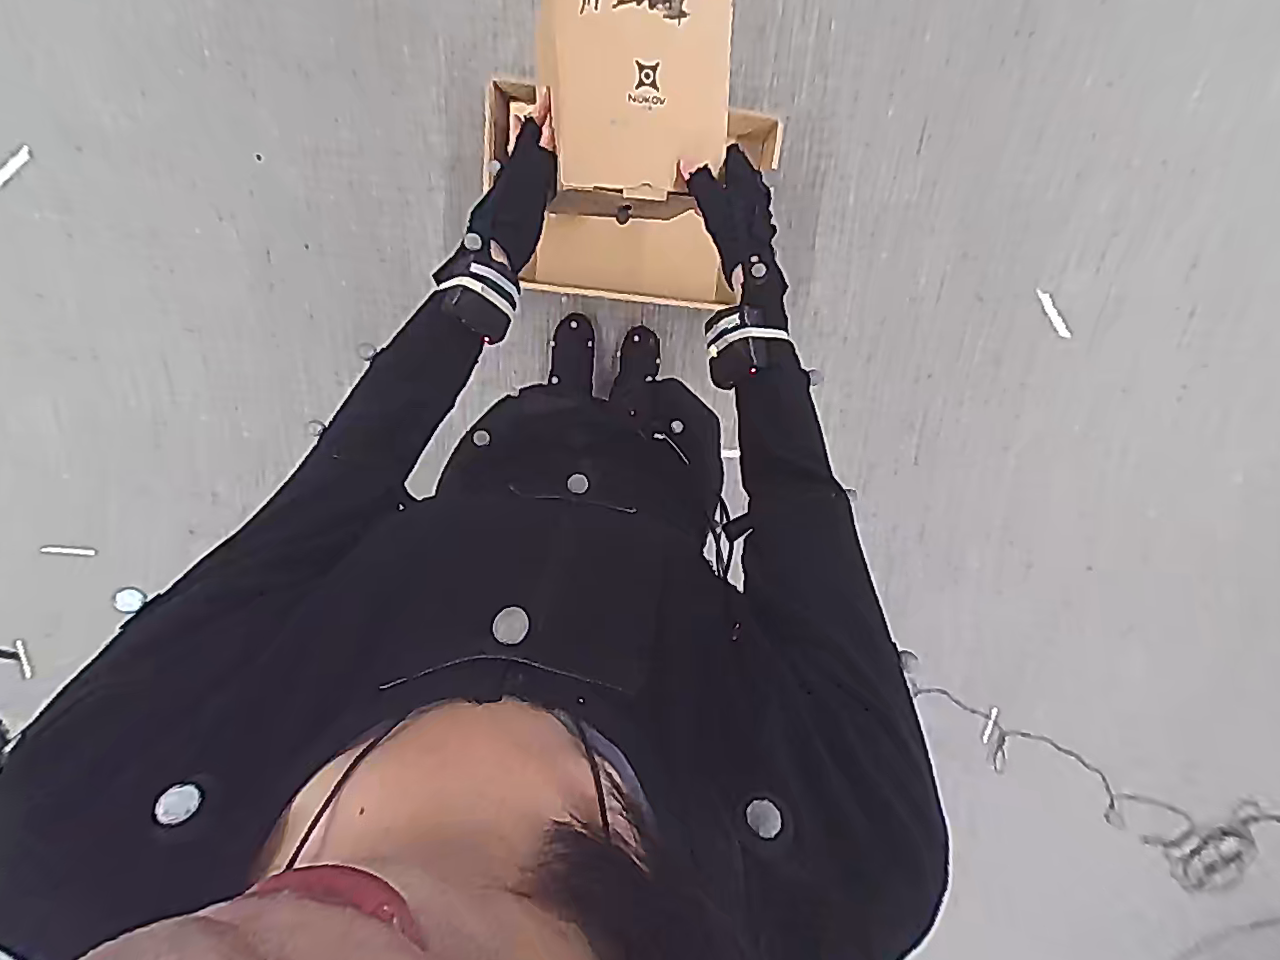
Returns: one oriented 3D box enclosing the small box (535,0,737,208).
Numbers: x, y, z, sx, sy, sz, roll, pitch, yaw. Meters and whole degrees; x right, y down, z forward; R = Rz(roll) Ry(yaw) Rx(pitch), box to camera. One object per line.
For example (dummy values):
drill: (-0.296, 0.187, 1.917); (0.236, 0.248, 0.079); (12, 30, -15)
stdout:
small box: (-0.015, -0.386, 0.556); (0.168, 0.176, 0.179); (-5, 110, -15)
